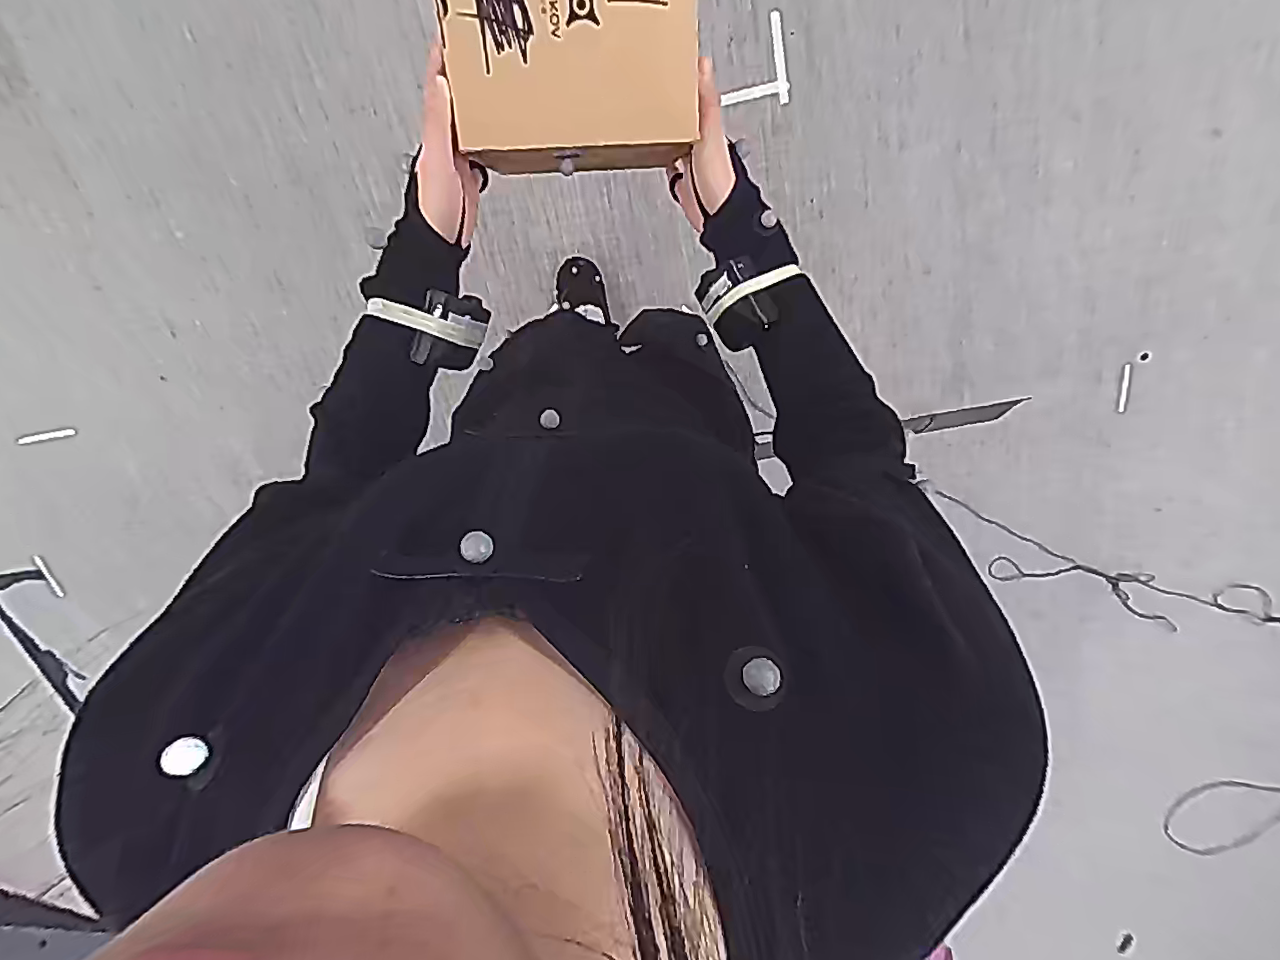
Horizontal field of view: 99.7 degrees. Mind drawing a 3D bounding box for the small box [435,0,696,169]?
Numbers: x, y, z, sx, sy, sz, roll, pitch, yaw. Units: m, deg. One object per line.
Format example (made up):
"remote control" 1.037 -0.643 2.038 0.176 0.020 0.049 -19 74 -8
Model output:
"small box" -0.053 -0.351 0.431 0.179 0.176 0.168 -4 115 -3
